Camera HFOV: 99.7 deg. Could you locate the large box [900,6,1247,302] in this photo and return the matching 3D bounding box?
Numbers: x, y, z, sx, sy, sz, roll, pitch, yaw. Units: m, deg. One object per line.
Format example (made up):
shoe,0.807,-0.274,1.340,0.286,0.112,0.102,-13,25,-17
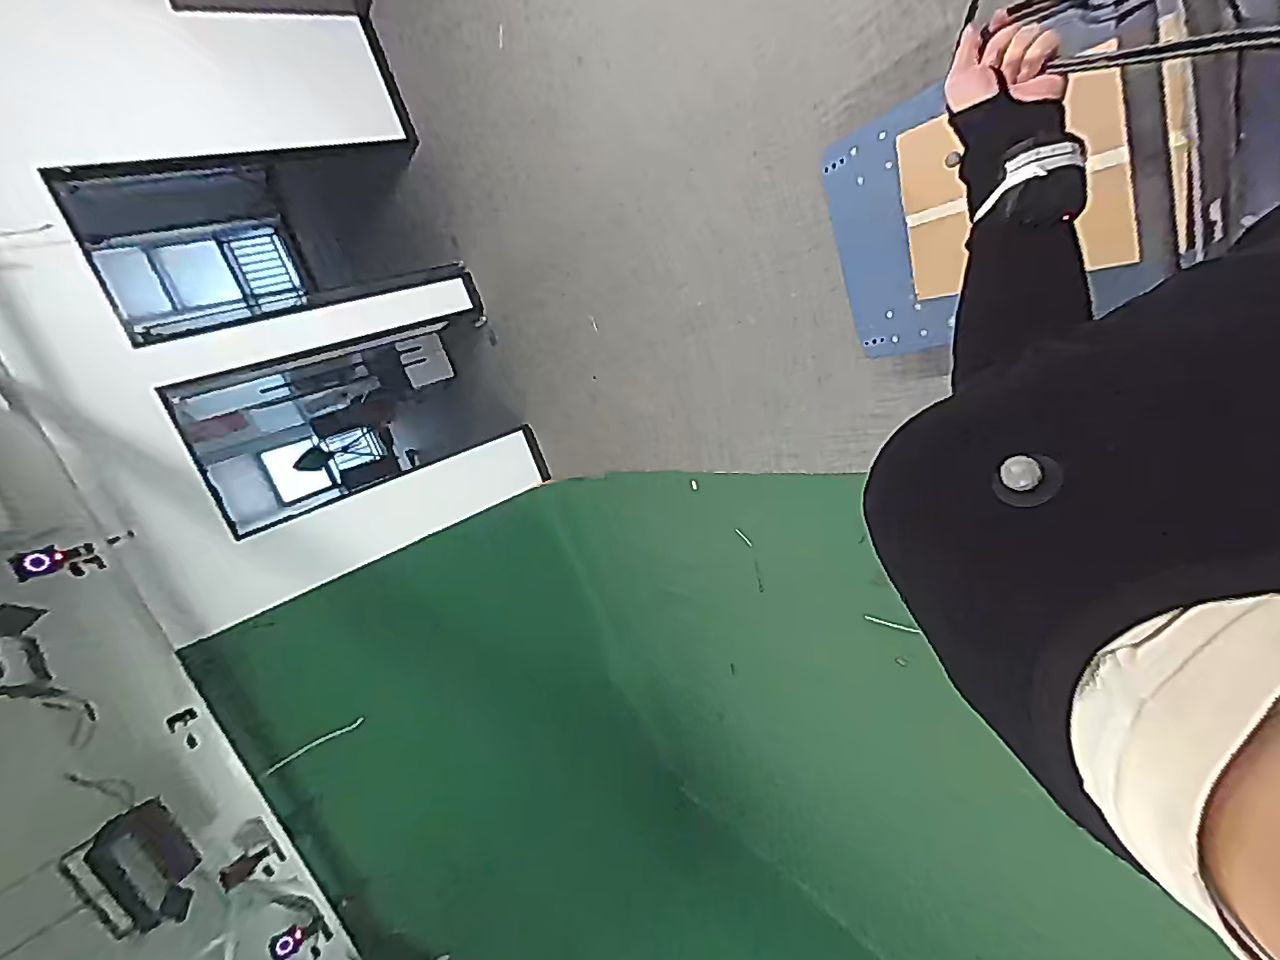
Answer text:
large box,0.759,-0.547,0.967,0.408,0.320,0.320,9,121,56
